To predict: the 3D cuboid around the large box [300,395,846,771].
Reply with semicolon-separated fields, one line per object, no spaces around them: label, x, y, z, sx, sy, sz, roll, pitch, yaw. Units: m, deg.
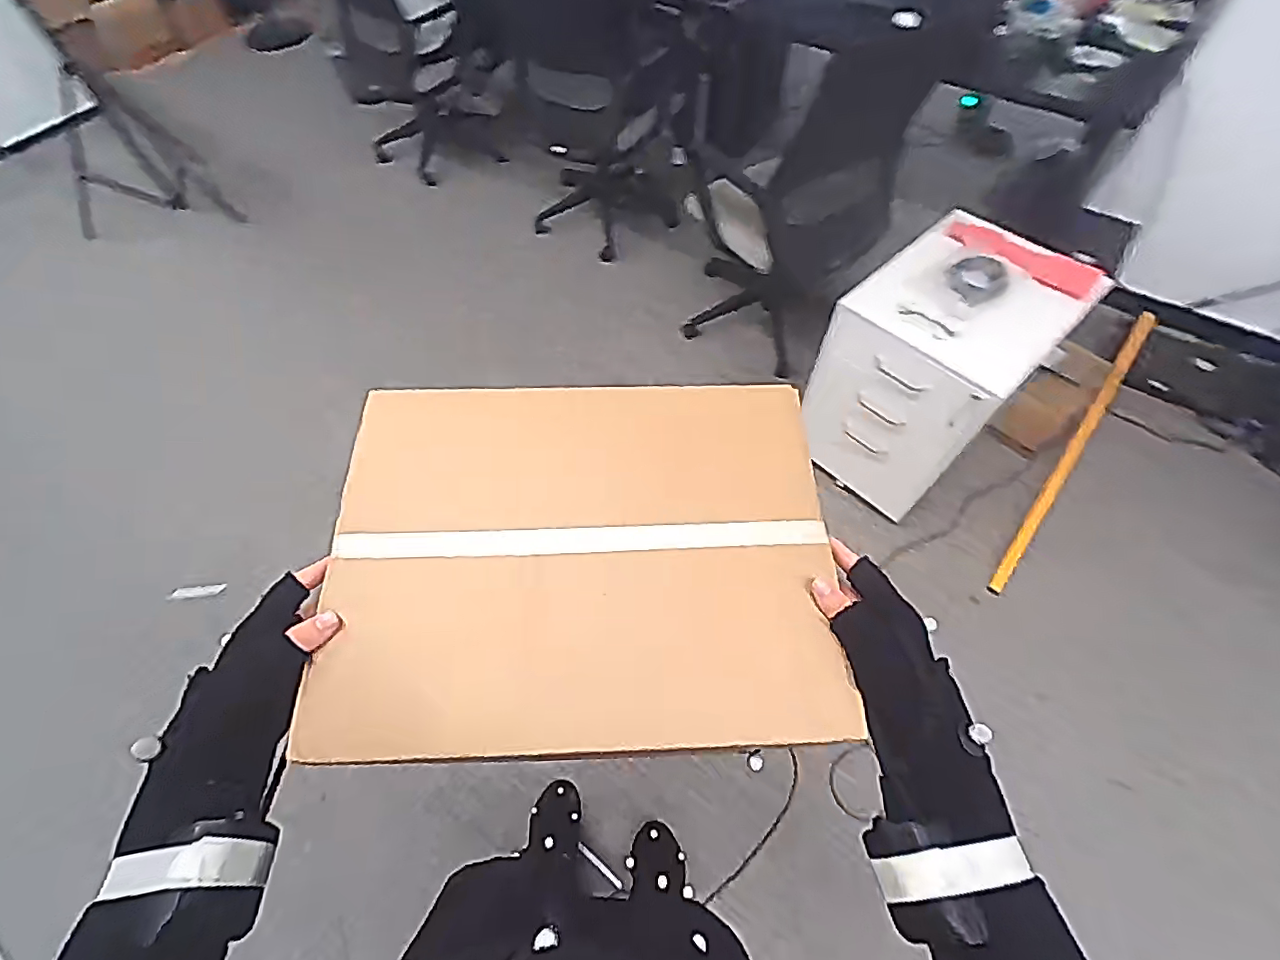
large box;-0.055;0.126;0.589;0.408;0.320;0.320;-1;62;-3
